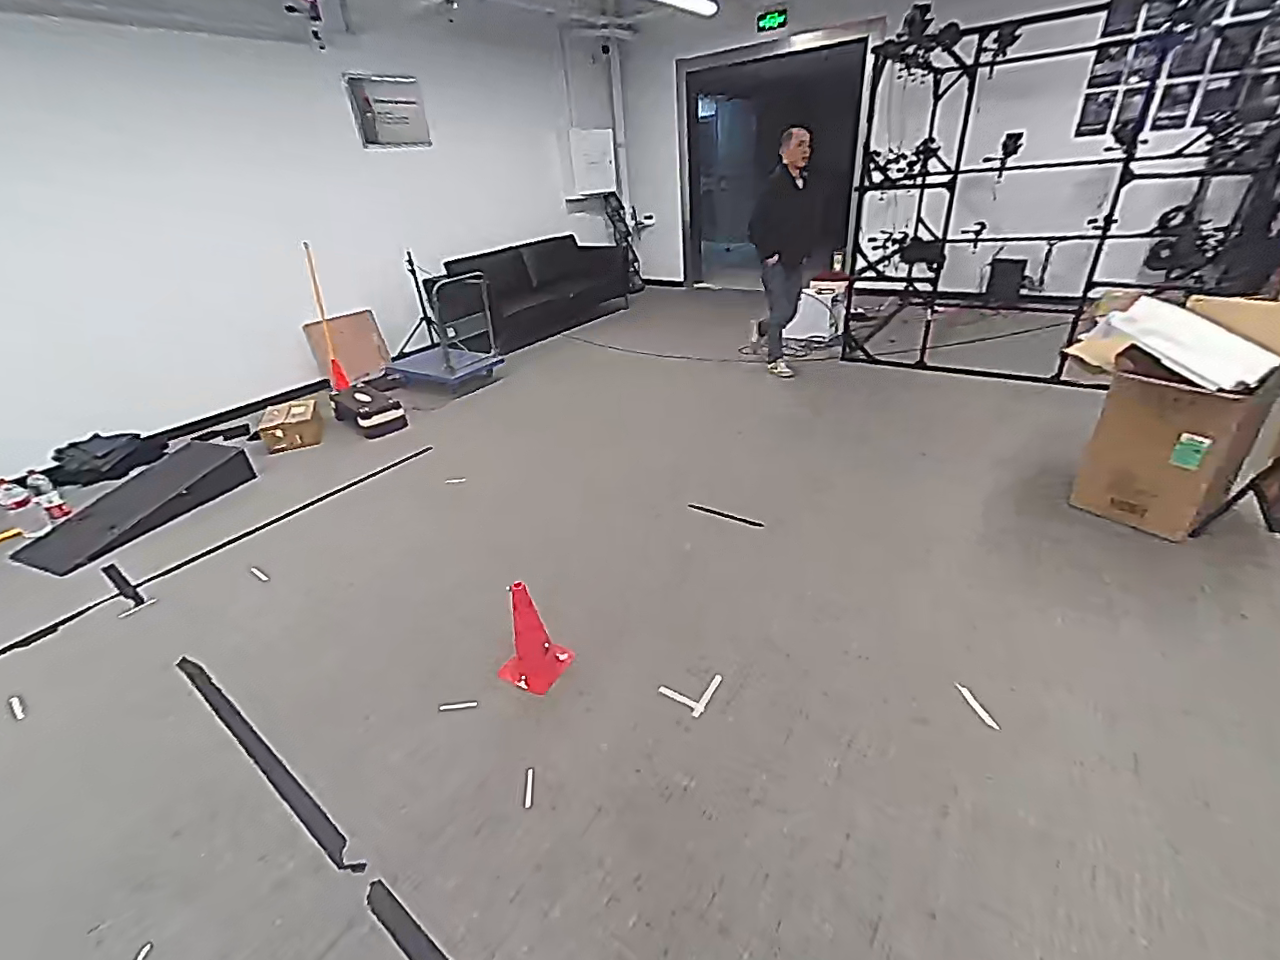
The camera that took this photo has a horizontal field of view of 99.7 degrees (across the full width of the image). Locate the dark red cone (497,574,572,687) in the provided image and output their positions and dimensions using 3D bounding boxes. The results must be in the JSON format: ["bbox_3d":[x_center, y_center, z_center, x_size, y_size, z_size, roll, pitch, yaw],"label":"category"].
[{"bbox_3d":[-0.367,0.464,1.751,0.202,0.394,0.201,11,34,27],"label":"dark red cone"}]
